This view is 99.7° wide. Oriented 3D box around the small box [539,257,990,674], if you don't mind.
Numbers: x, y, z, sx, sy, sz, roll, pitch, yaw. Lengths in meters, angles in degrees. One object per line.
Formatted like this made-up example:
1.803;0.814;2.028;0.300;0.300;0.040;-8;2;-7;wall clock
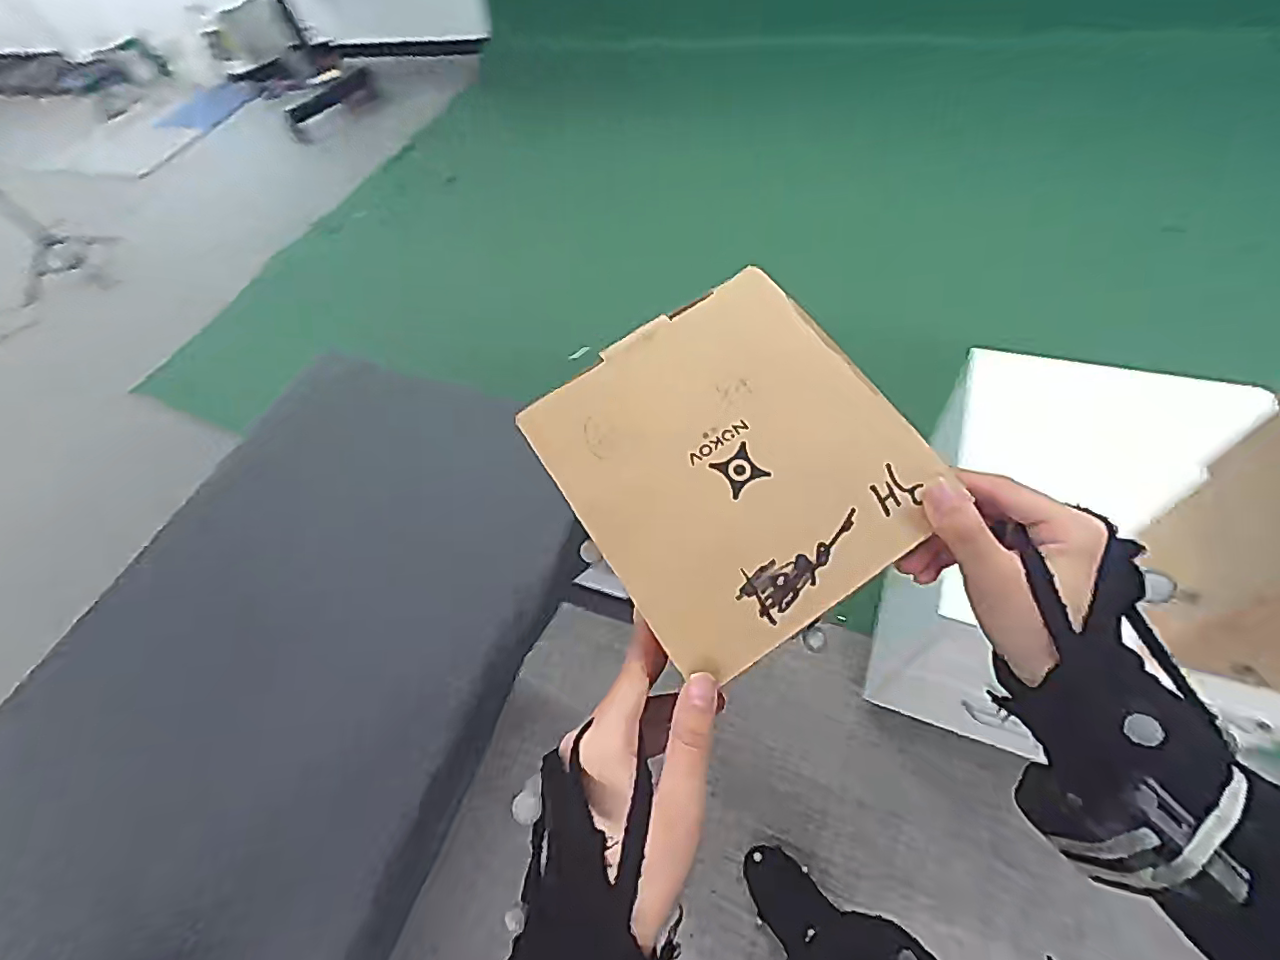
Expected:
0.062;0.006;0.350;0.168;0.176;0.179;-32;72;-5;small box
